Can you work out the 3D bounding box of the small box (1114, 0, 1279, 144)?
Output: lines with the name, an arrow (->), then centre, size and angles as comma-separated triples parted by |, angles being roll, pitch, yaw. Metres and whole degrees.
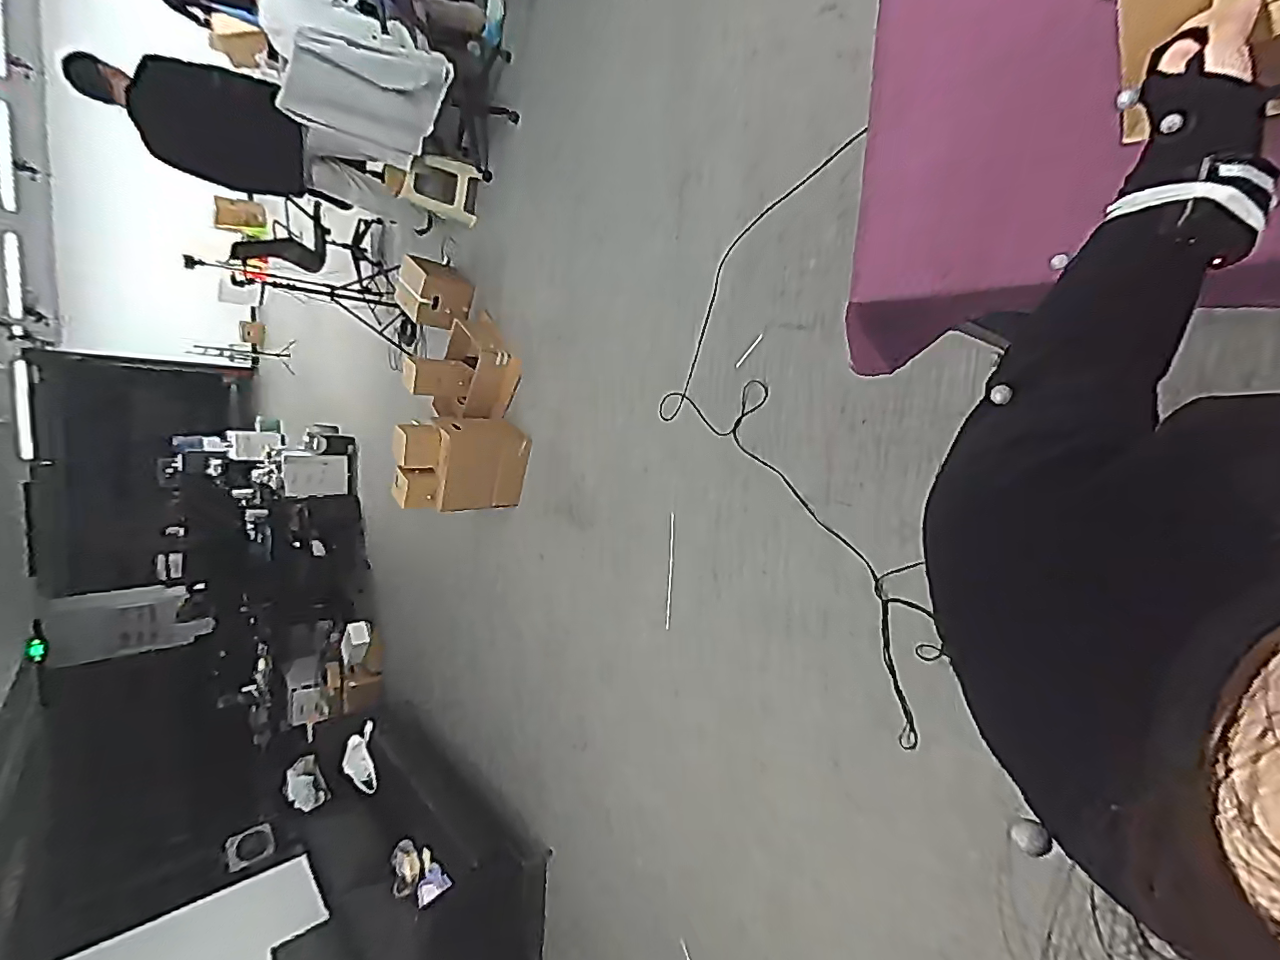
small box -> 0.543, -0.445, 0.472 | 0.168, 0.176, 0.179 | 15, 81, 47
